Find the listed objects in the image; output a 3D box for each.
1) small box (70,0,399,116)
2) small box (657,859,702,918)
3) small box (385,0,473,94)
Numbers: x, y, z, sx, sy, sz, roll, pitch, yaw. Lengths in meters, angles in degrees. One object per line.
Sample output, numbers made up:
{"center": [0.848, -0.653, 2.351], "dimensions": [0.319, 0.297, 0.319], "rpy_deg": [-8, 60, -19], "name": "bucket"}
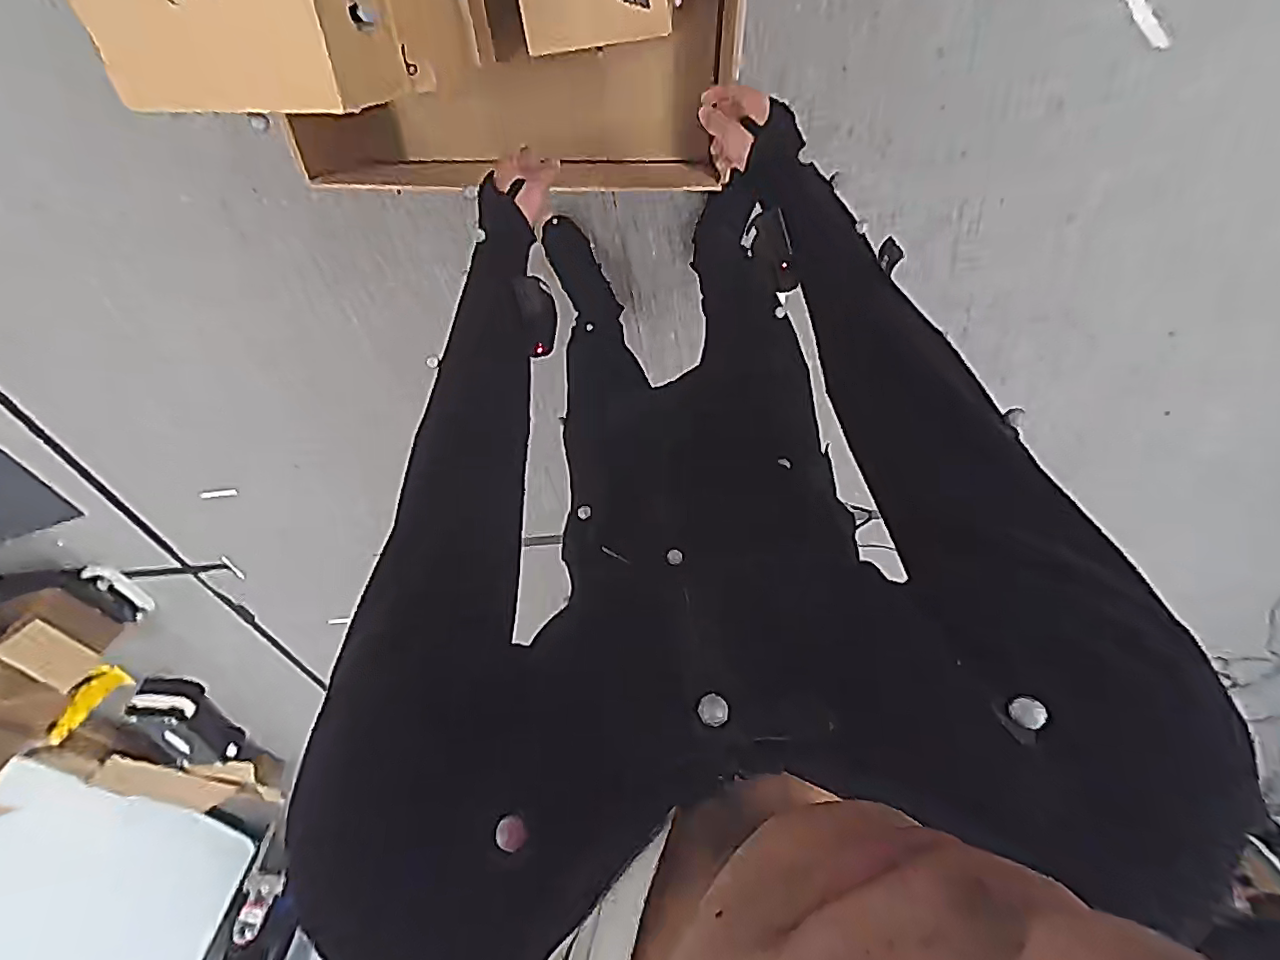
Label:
{"center": [-0.313, -0.399, 0.430], "dimensions": [0.179, 0.176, 0.168], "rpy_deg": [0, 130, 1], "name": "small box"}
{"center": [0.164, 1.715, 2.271], "dimensions": [0.179, 0.176, 0.168], "rpy_deg": [-5, 129, 7], "name": "small box"}
{"center": [-0.287, -0.505, 0.554], "dimensions": [0.168, 0.176, 0.179], "rpy_deg": [-2, 130, 2], "name": "small box"}
